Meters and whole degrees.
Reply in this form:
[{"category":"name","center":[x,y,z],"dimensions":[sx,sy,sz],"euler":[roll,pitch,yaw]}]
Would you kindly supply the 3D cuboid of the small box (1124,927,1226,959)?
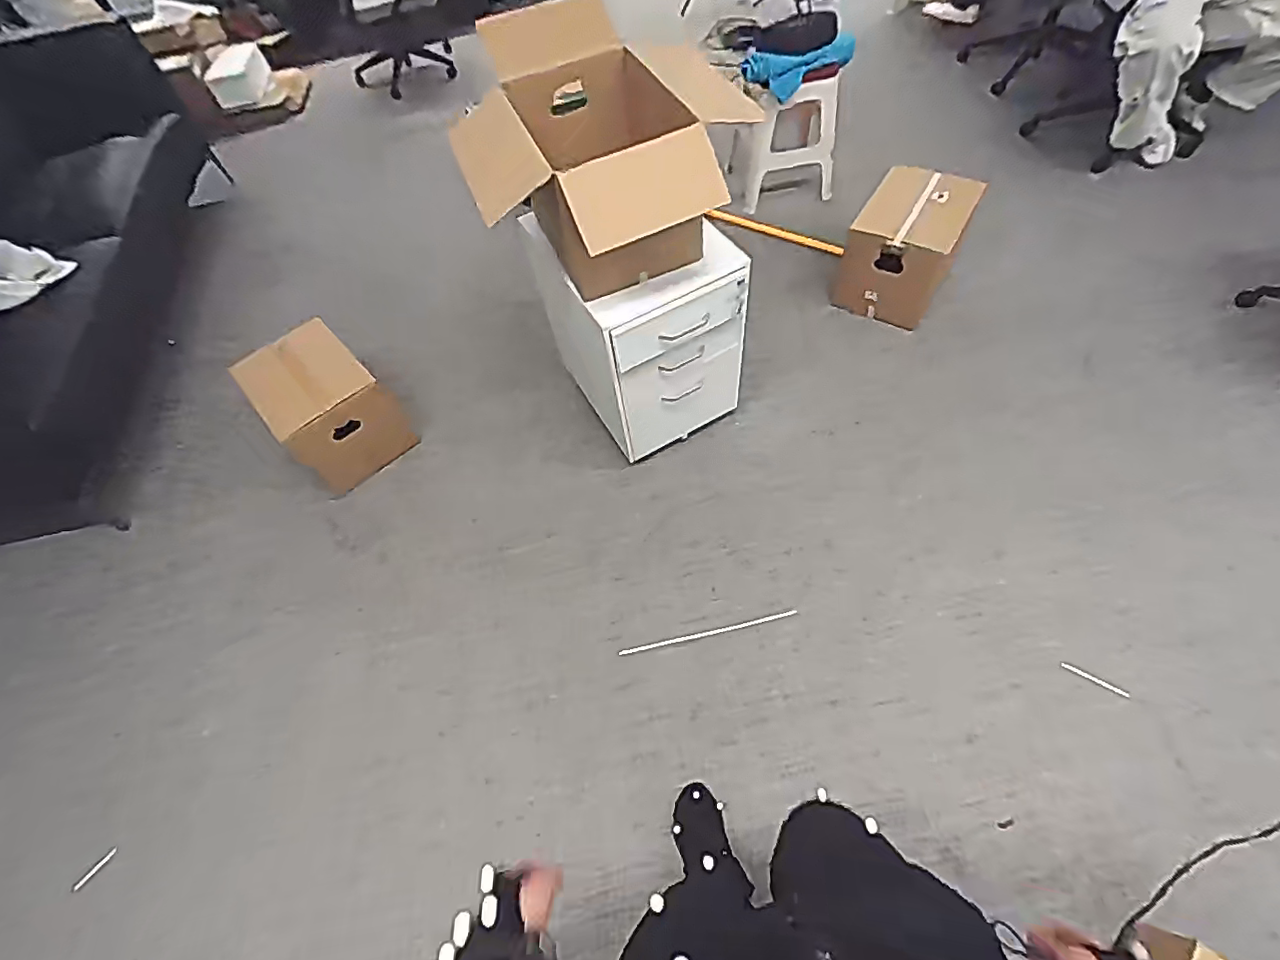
[{"category":"small box","center":[0.956,0.916,0.916],"dimensions":[0.168,0.176,0.179],"euler":[34,68,23]}]
